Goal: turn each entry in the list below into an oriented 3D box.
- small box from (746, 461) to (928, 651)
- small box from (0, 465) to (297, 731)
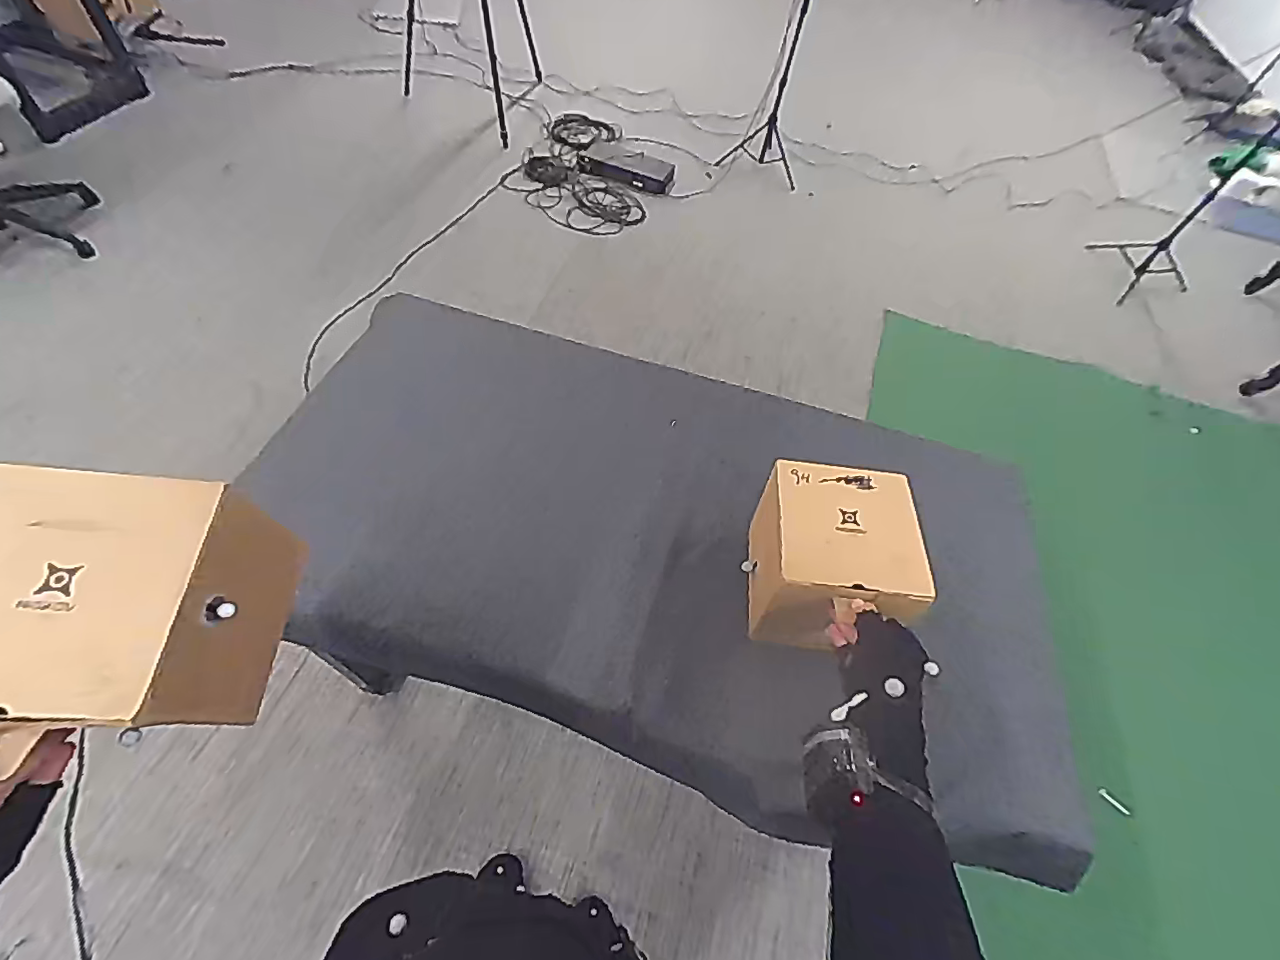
[{"bbox_3d":[0.236,0.103,0.695,0.168,0.176,0.179,8,53,1],"label":"small box"},{"bbox_3d":[-0.418,0.107,0.445,0.168,0.176,0.179,6,65,-9],"label":"small box"}]
